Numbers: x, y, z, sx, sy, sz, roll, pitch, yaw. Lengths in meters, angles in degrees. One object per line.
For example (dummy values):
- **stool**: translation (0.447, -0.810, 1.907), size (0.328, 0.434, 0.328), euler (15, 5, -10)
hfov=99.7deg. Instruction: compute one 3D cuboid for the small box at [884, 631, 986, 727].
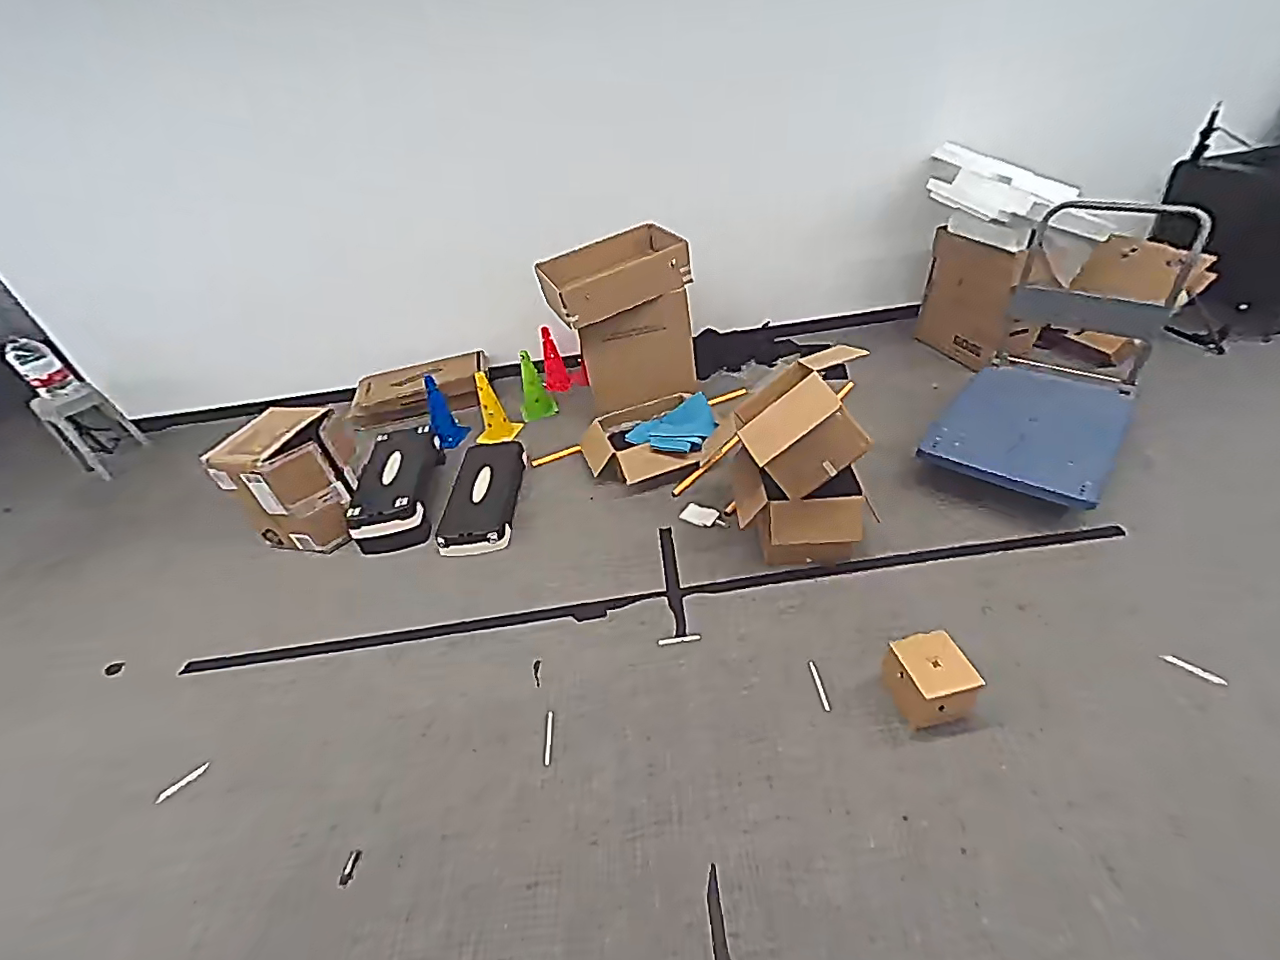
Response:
- **small box**: translation (0.794, 0.549, 1.475), size (0.168, 0.176, 0.179), euler (-13, 38, -5)
